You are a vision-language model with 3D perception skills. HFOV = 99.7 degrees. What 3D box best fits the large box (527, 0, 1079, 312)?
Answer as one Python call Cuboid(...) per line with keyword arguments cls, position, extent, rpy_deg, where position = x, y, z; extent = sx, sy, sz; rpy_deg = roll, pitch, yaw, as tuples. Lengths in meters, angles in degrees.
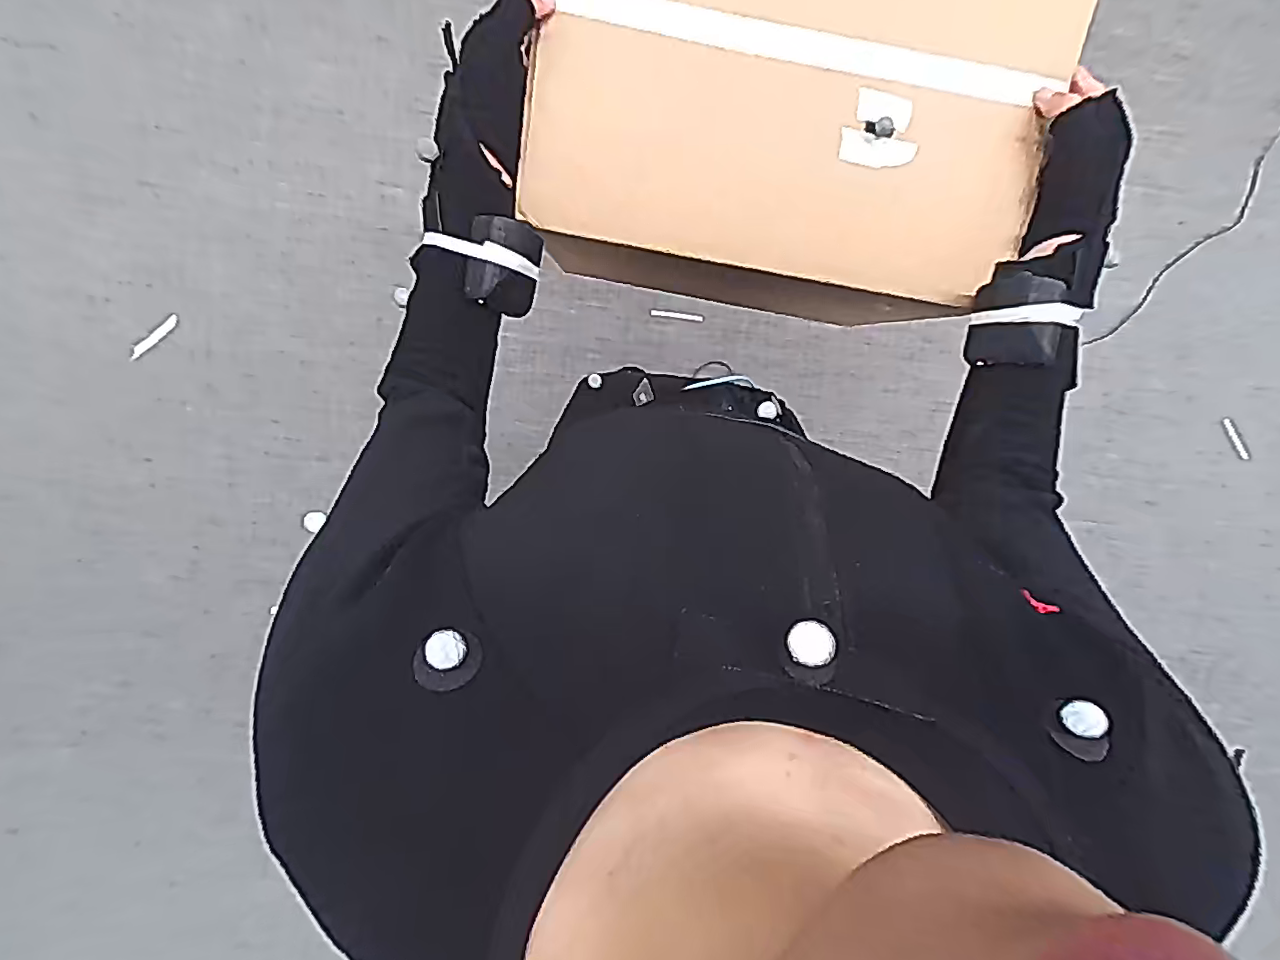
Cuboid(cls="large box", position=(0.118, -0.366, 0.555), extent=(0.408, 0.320, 0.320), rpy_deg=(9, 105, -4))
